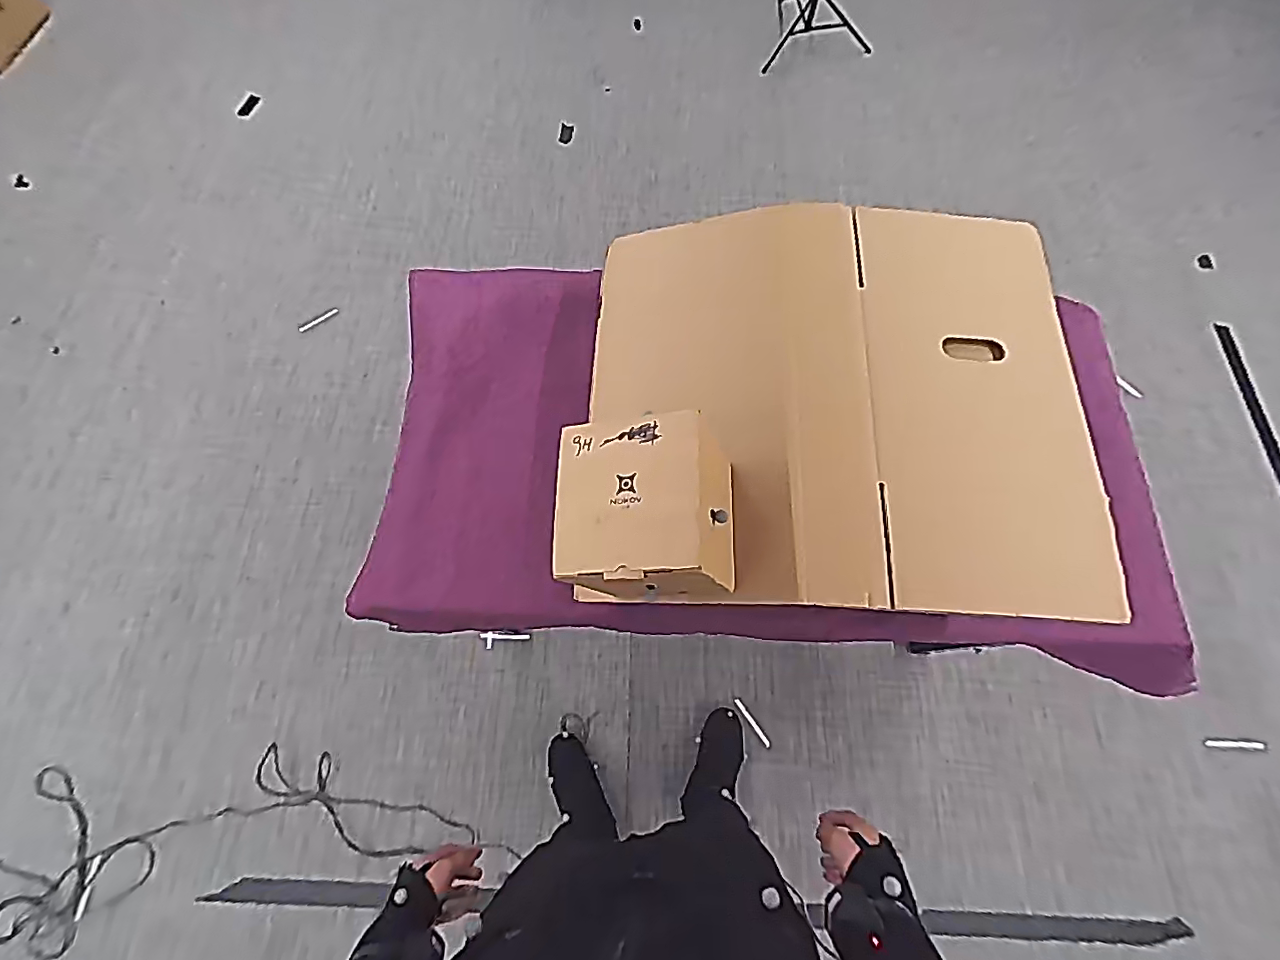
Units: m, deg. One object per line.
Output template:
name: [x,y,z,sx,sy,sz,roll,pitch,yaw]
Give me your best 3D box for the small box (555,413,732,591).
small box: [0.014,0.040,0.650,0.168,0.176,0.179,-5,70,20]
